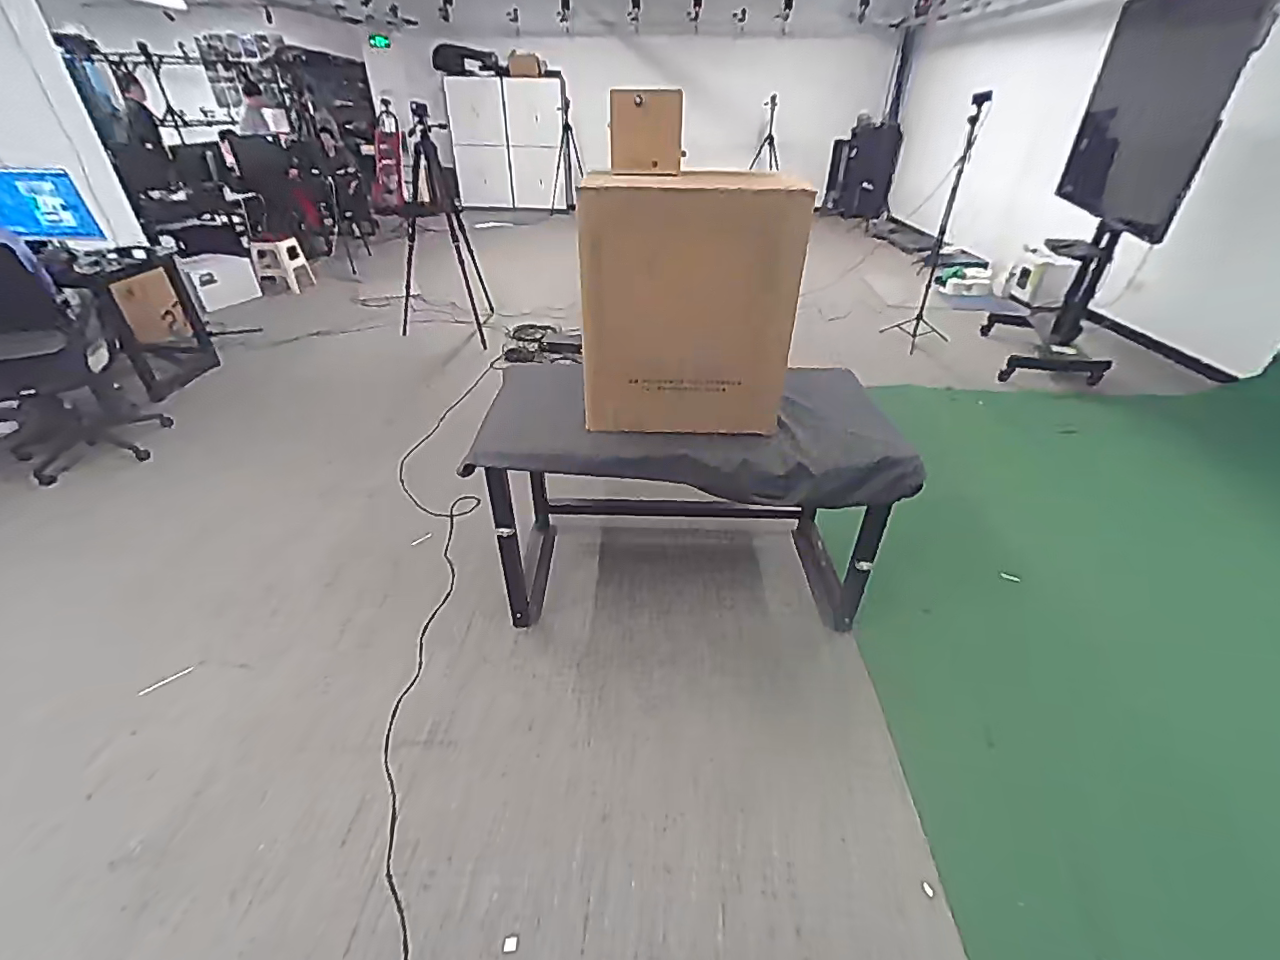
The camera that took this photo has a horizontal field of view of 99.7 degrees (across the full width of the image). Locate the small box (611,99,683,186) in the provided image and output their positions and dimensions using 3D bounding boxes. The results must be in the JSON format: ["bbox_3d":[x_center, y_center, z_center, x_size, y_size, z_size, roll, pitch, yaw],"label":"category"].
[{"bbox_3d":[0.018,-0.826,1.326,0.168,0.176,0.179,1,32,2],"label":"small box"}]
